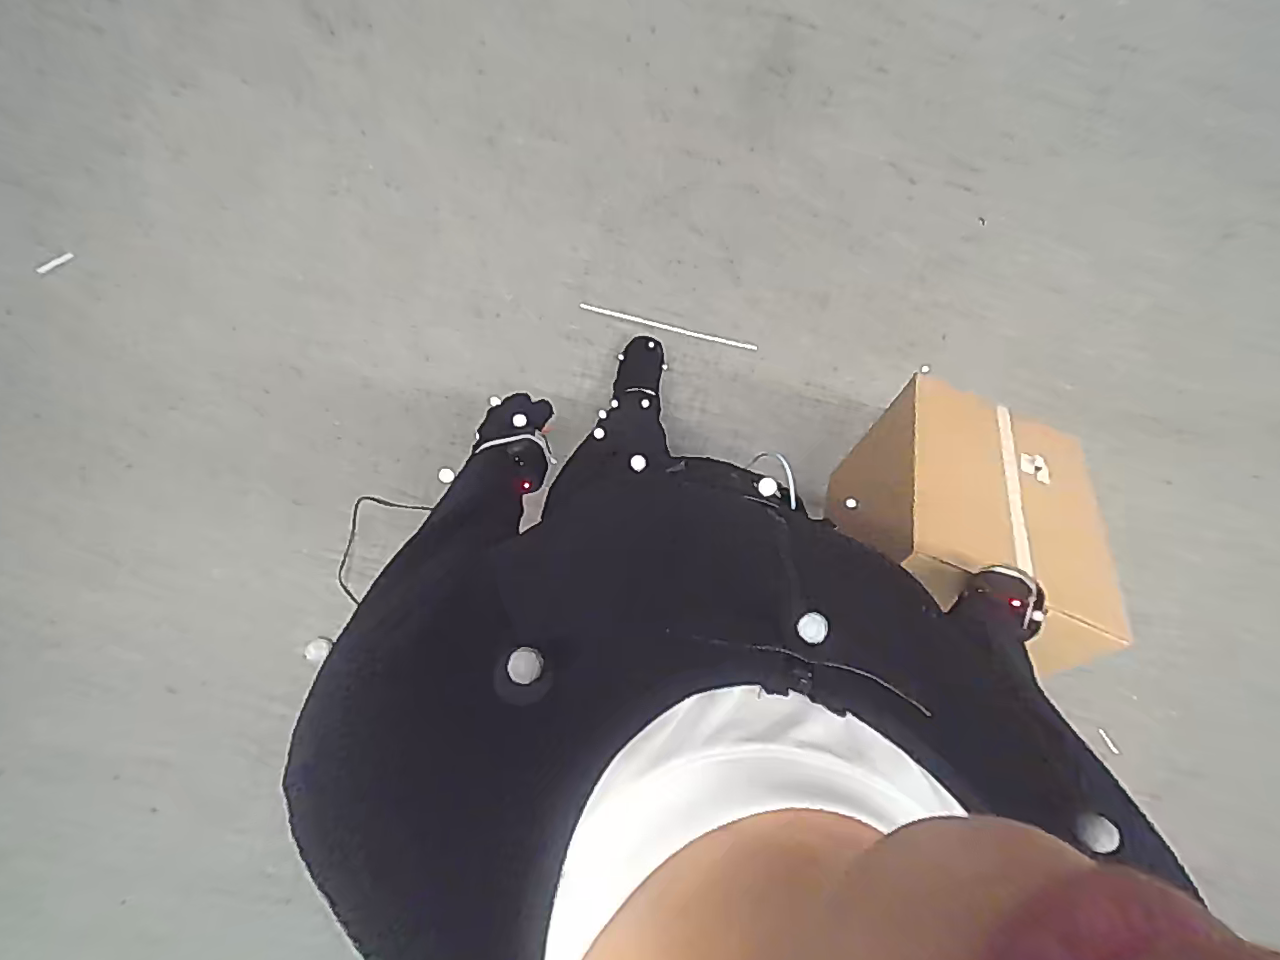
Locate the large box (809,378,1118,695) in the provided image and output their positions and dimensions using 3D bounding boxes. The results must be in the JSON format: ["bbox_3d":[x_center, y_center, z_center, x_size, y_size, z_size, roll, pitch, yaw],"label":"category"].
[{"bbox_3d":[0.528,0.100,0.965,0.320,0.320,0.408,24,50,1],"label":"large box"}]
